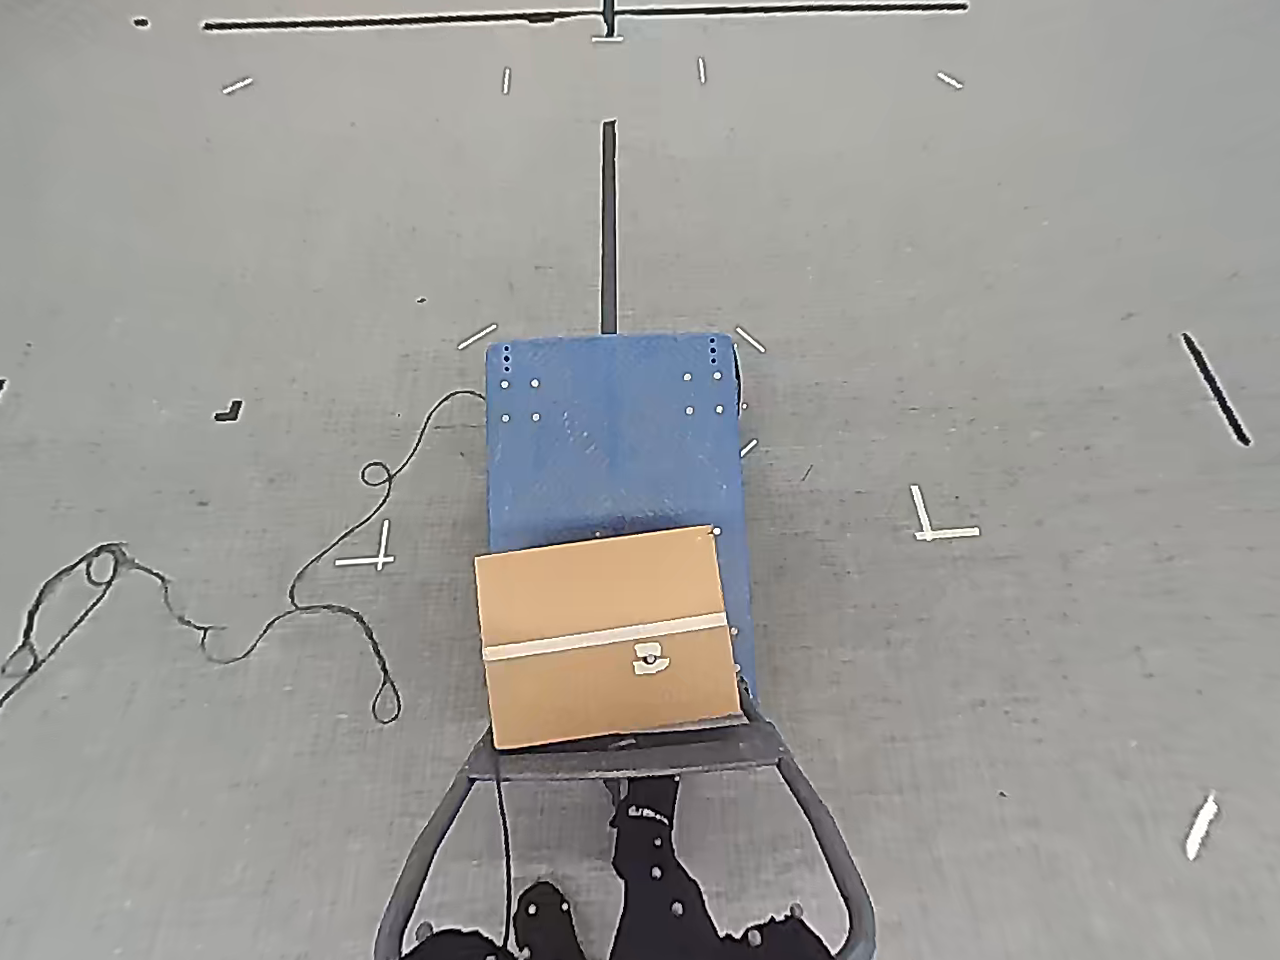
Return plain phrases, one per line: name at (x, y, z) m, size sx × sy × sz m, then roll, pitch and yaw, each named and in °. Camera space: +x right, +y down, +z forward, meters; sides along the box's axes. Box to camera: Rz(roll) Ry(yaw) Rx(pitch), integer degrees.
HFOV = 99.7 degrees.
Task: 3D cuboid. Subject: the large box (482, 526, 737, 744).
large box at (-0.060, 0.276, 1.061) m, size 0.408 × 0.320 × 0.320 m, roll -7°, pitch 84°, yaw -3°
